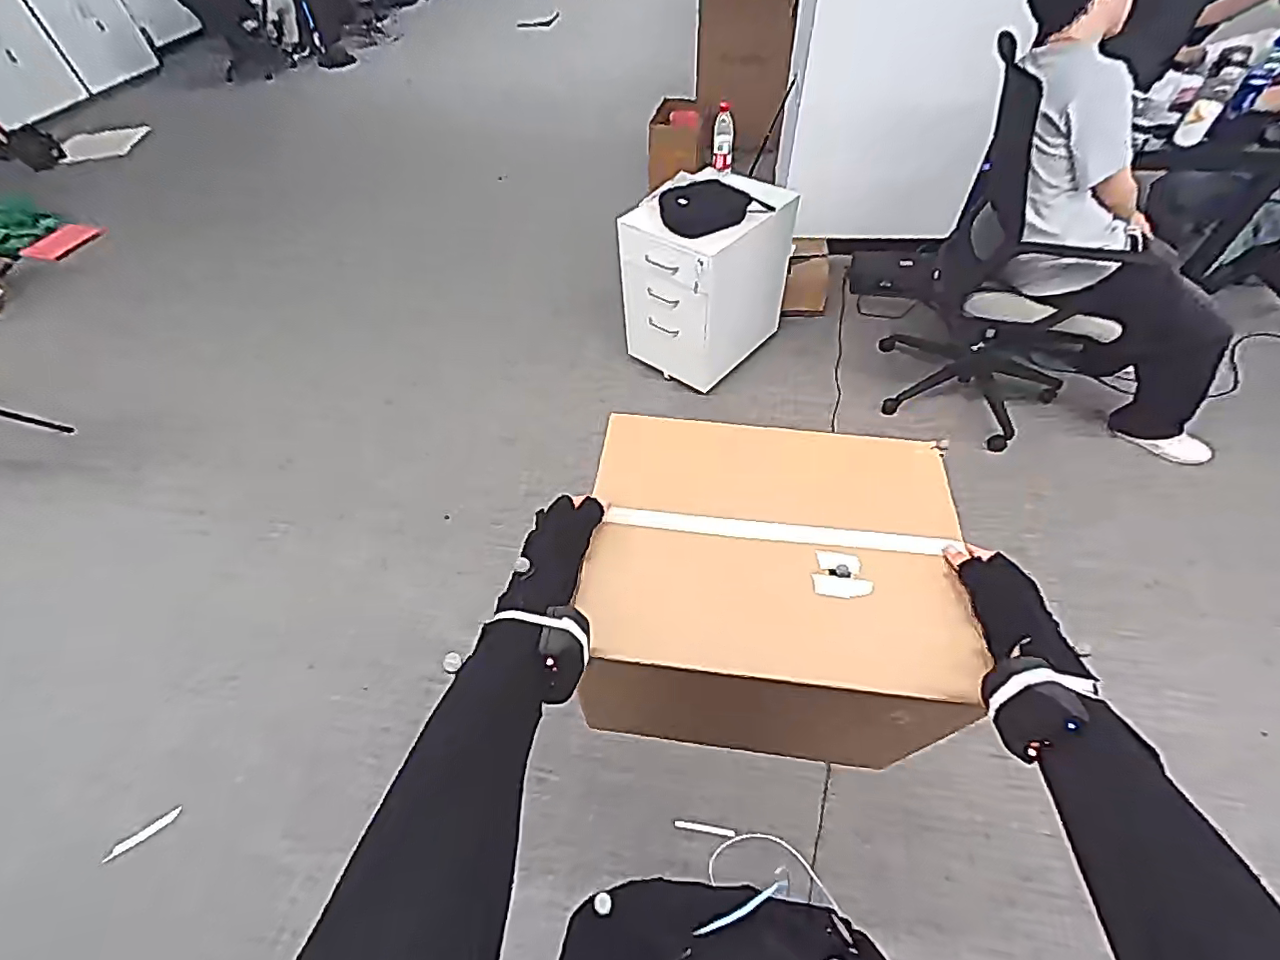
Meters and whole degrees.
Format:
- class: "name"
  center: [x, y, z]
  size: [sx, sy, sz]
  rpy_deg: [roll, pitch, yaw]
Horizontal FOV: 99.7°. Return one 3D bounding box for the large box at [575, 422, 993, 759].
- class: "large box"
  center: [0.148, 0.152, 0.718]
  size: [0.408, 0.320, 0.320]
  rpy_deg: [6, 54, 5]
